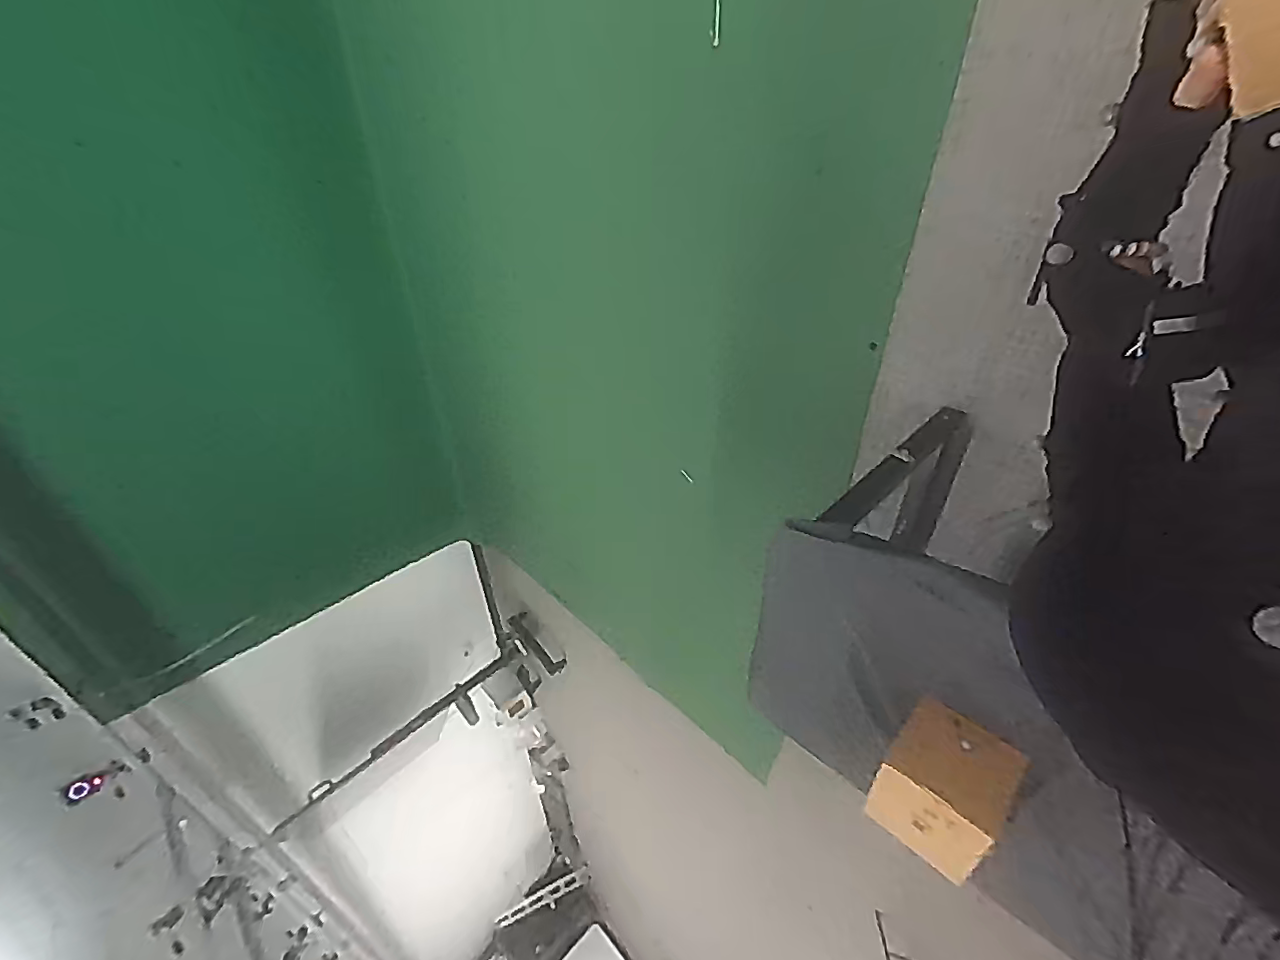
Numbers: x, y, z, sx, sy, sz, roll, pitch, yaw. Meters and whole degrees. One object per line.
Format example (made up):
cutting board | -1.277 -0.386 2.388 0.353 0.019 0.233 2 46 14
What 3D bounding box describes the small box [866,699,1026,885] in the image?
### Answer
small box | 0.513 0.517 0.913 0.168 0.176 0.179 29 135 36
